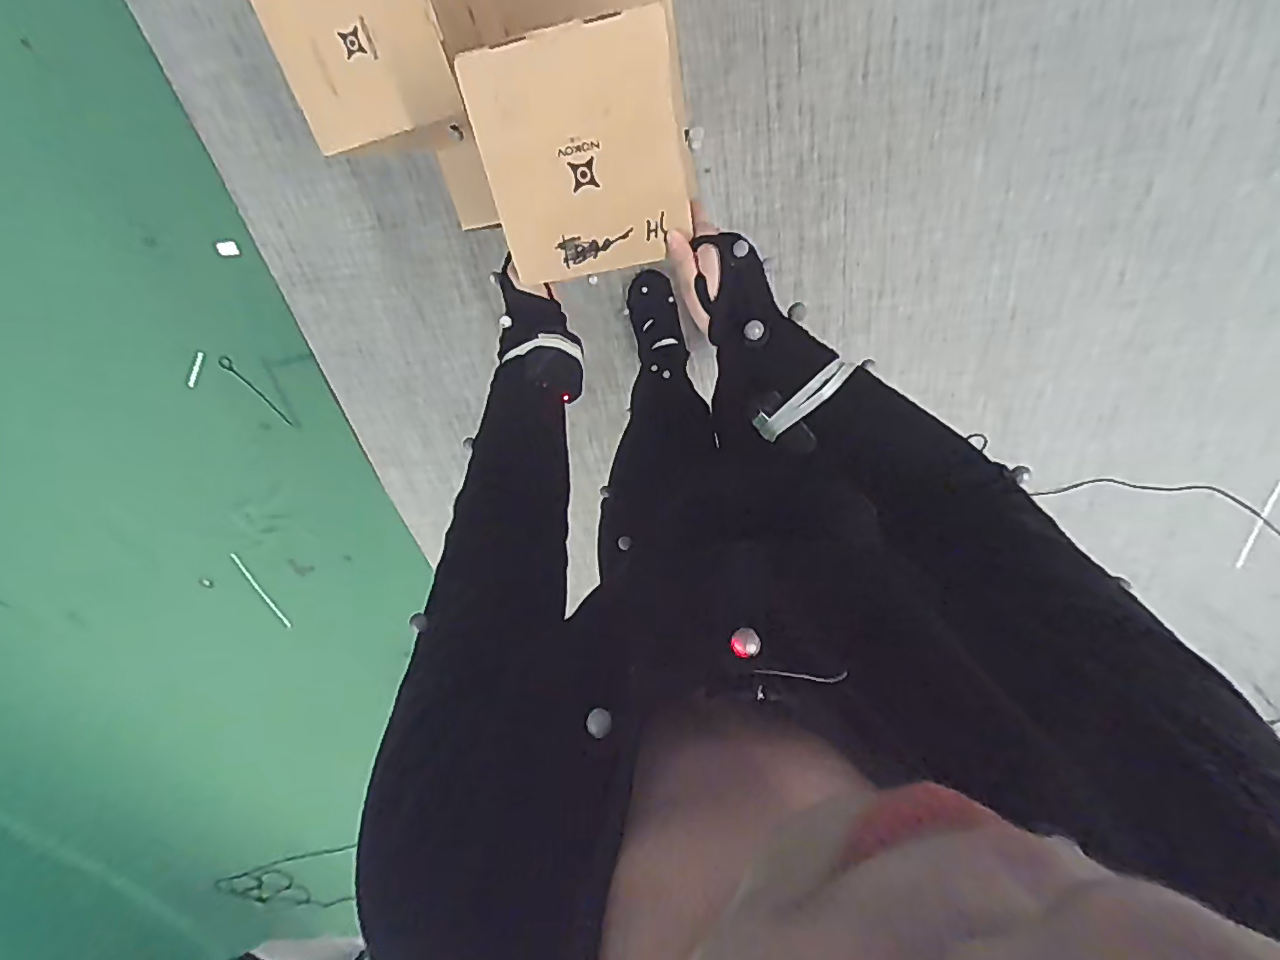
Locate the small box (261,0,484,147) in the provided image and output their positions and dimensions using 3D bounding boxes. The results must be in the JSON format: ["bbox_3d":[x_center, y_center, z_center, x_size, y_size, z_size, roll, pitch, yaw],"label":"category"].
[{"bbox_3d":[-0.274,-0.492,0.607,0.179,0.176,0.168,-9,121,11],"label":"small box"}]

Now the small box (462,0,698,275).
[{"bbox_3d":[-0.037,-0.312,0.508,0.168,0.176,0.179,-5,124,10],"label":"small box"}]
